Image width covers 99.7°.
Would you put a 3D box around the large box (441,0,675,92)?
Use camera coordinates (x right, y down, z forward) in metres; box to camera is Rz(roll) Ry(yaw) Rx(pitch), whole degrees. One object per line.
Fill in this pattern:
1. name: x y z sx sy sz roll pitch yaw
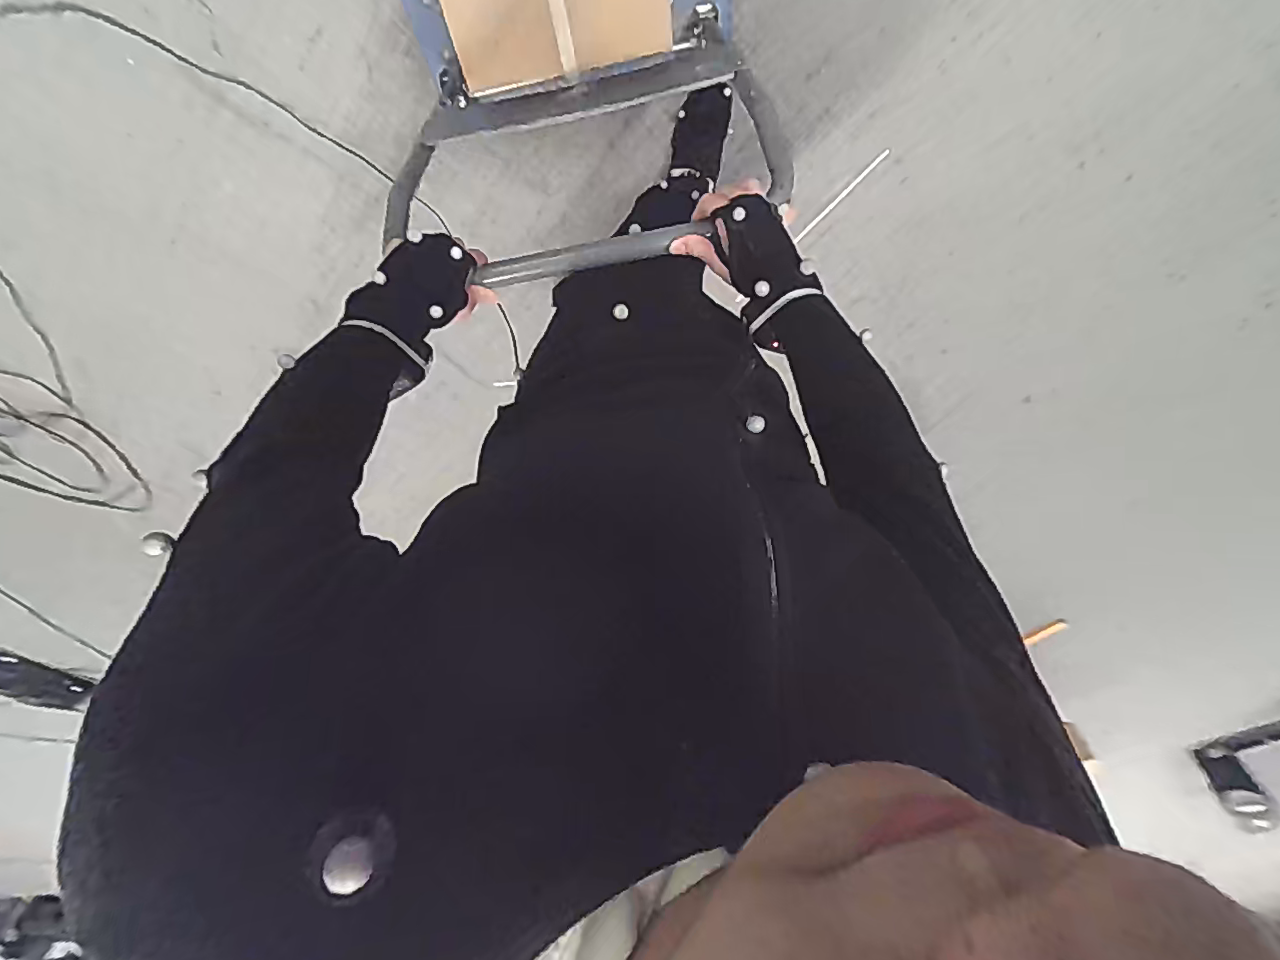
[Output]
1. large box: -0.140 -0.846 0.759 0.320 0.320 0.408 -9 136 6
